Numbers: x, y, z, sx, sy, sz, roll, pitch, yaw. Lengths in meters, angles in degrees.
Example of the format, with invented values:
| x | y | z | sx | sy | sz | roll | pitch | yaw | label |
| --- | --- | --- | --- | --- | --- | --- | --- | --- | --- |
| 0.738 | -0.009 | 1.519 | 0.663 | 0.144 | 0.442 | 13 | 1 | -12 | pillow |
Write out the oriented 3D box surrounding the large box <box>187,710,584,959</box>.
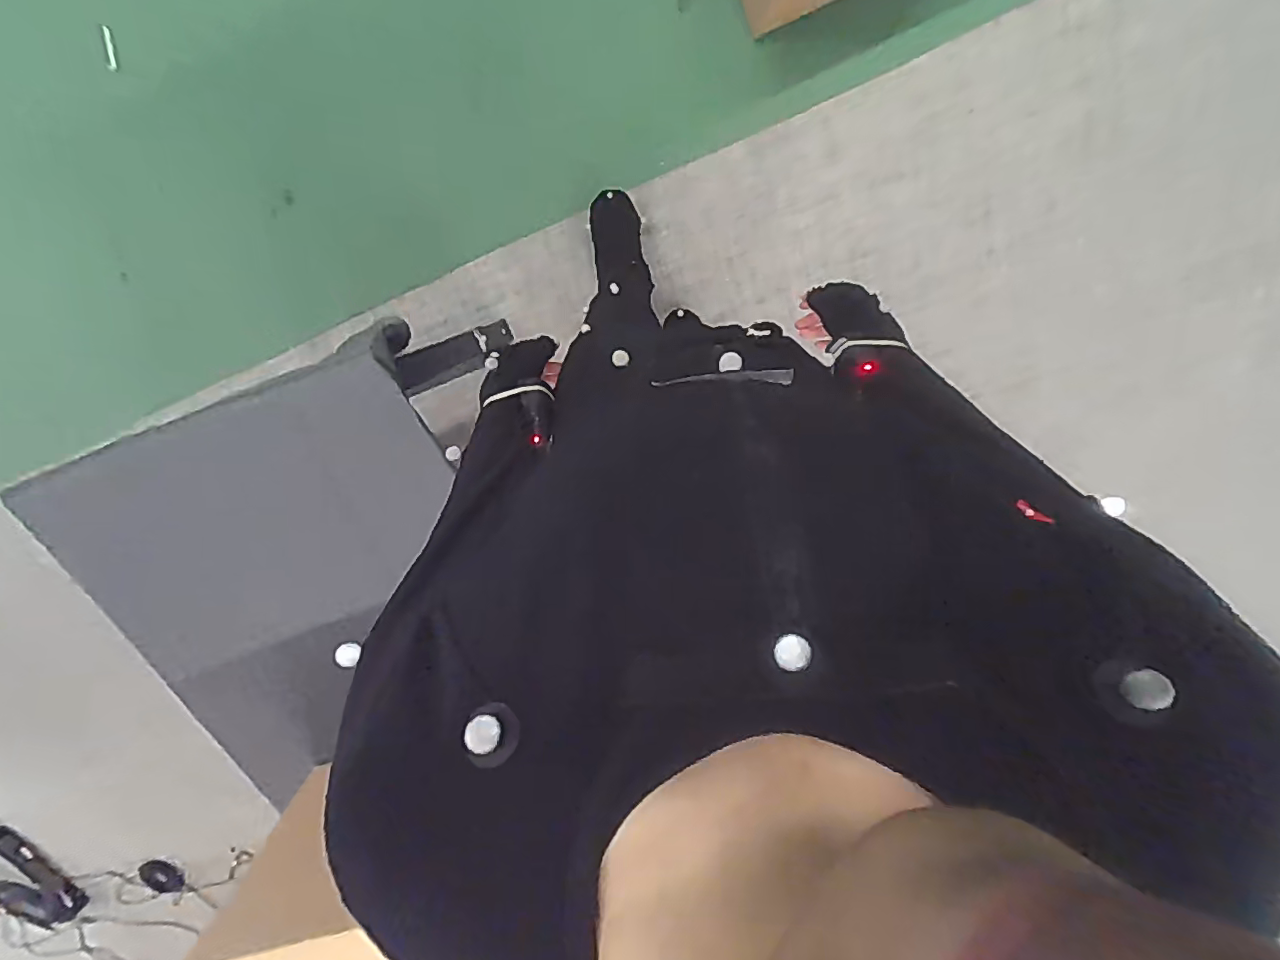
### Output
| x | y | z | sx | sy | sz | roll | pitch | yaw | label |
| --- | --- | --- | --- | --- | --- | --- | --- | --- | --- |
| -0.341 | 0.625 | 0.827 | 0.408 | 0.320 | 0.320 | -21 | 109 | 8 | large box |
